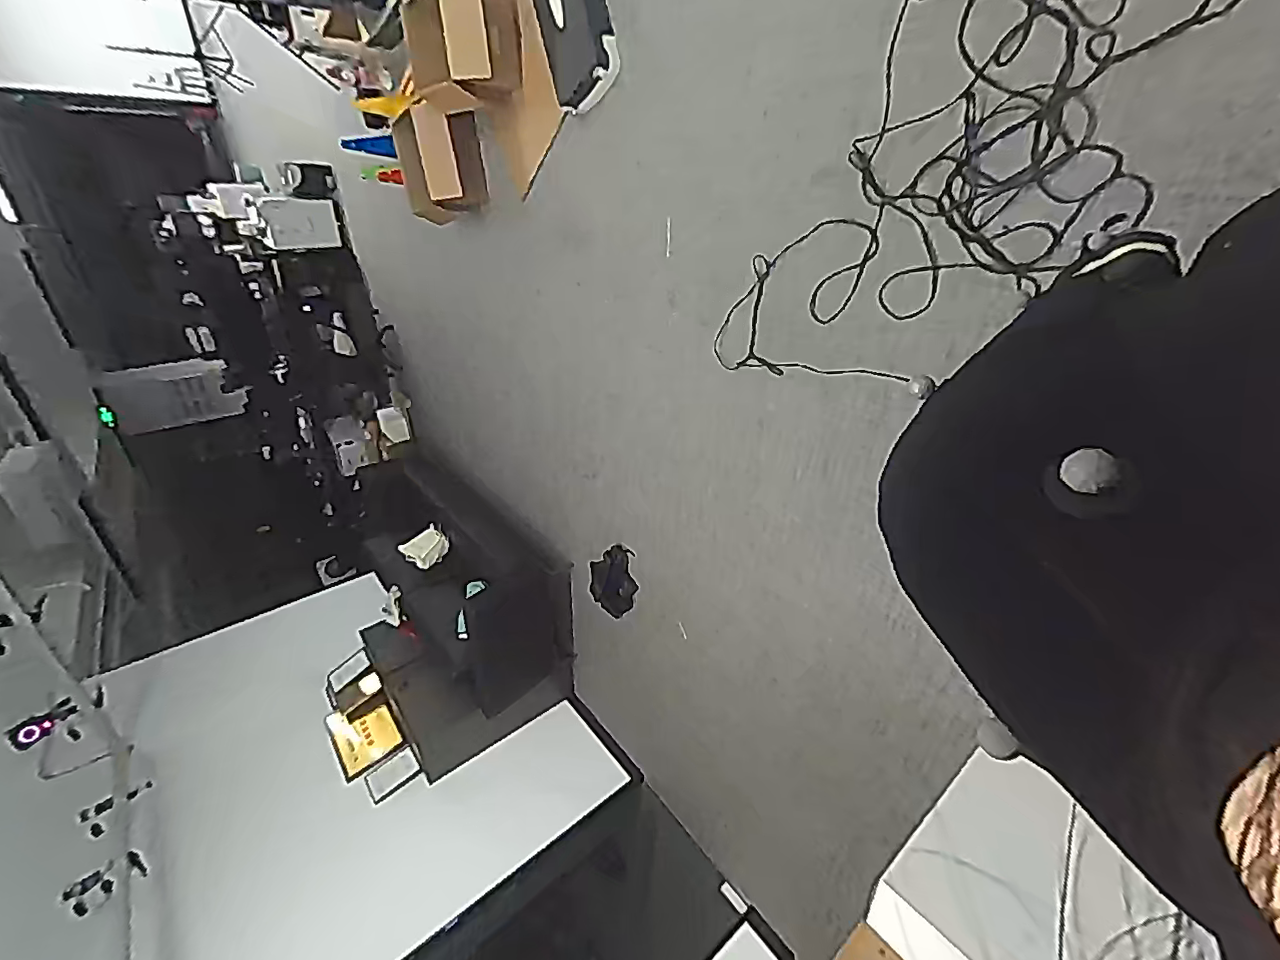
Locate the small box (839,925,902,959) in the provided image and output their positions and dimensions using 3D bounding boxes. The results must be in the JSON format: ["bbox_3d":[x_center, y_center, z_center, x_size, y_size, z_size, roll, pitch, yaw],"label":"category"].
[{"bbox_3d":[0.508,1.142,1.188,0.168,0.176,0.179,33,133,42],"label":"small box"}]
